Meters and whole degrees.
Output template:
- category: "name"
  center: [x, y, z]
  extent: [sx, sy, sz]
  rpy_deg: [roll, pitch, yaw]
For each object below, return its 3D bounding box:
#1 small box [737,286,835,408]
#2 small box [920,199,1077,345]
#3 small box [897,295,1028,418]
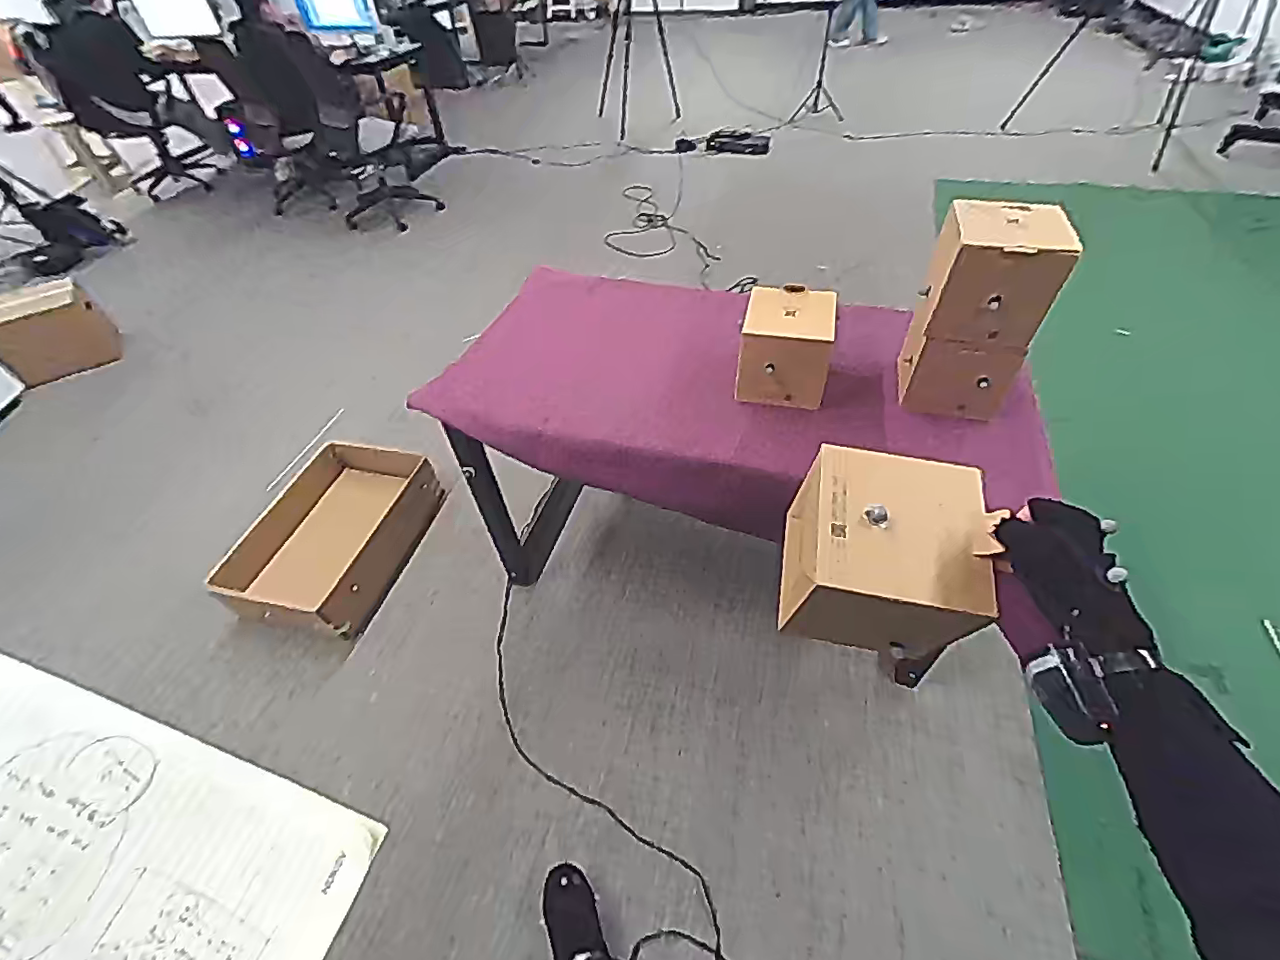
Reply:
- category: "small box"
  center: [0.291, -0.266, 1.087]
  extent: [0.168, 0.176, 0.179]
  rpy_deg: [9, 48, 12]
- category: "small box"
  center: [0.592, -0.352, 0.920]
  extent: [0.168, 0.176, 0.179]
  rpy_deg: [11, 51, 13]
- category: "small box"
  center: [0.607, -0.242, 1.040]
  extent: [0.168, 0.176, 0.179]
  rpy_deg: [11, 49, 13]
